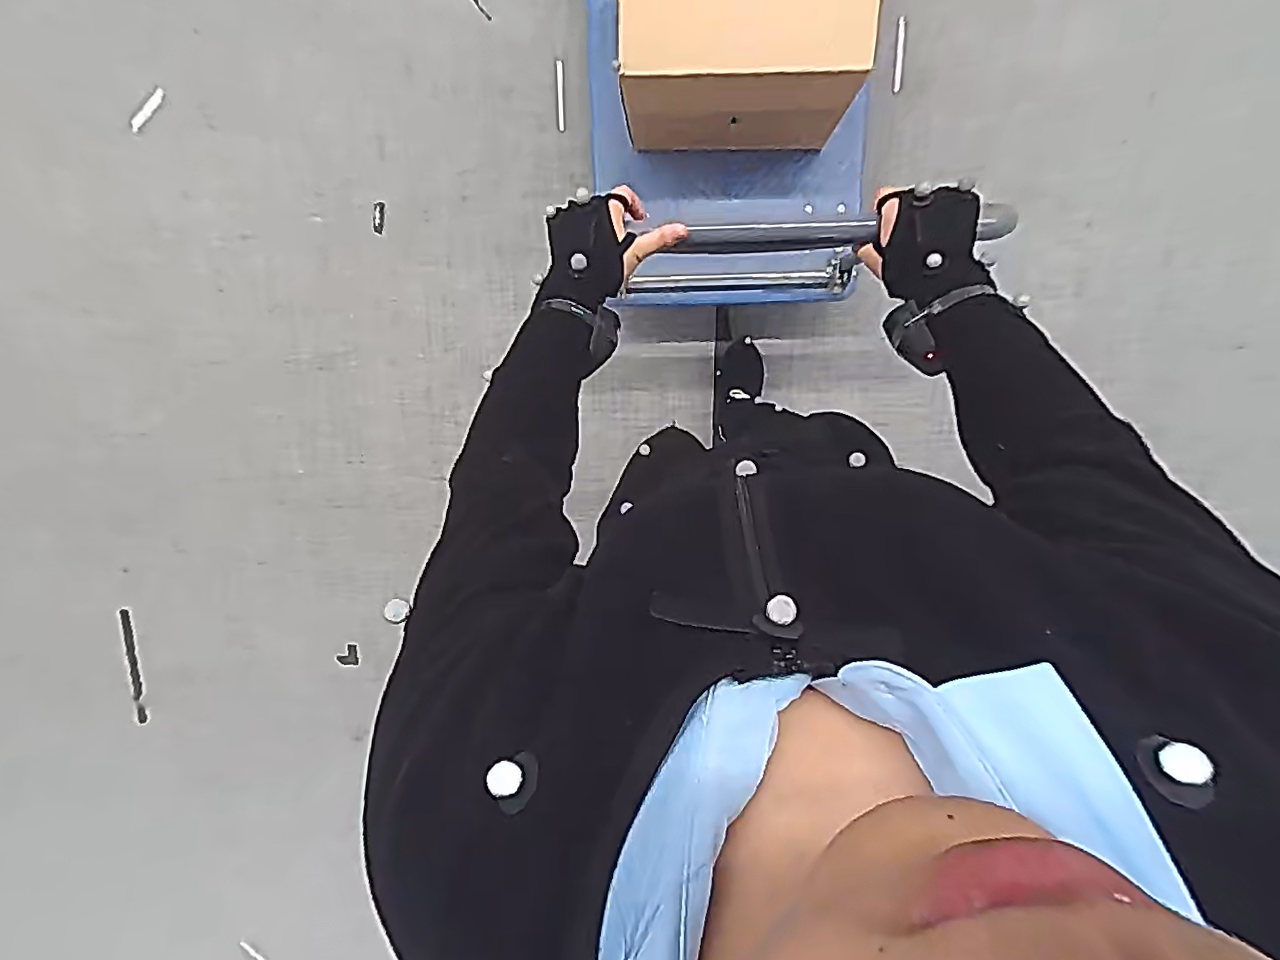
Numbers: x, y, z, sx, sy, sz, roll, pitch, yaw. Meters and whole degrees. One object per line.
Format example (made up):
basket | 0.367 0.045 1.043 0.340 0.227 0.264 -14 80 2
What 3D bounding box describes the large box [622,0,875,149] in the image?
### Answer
large box | 0.183 -0.836 0.991 0.408 0.320 0.320 1 100 5
